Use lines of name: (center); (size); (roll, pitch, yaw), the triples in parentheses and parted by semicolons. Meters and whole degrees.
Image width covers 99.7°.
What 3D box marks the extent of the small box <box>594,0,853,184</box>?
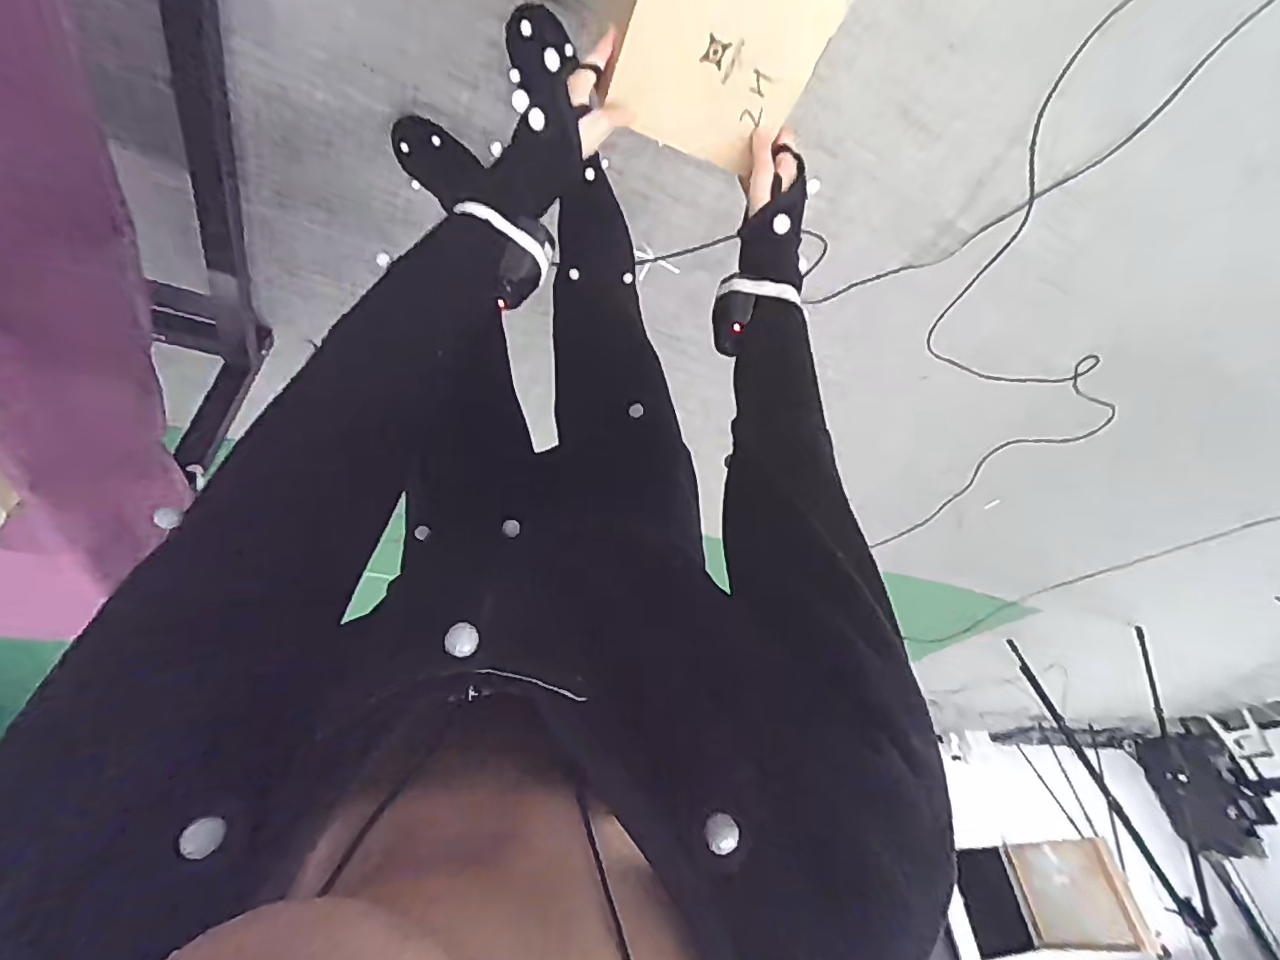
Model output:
small box: (0.063, -0.437, 0.531); (0.179, 0.176, 0.168); (8, 142, -24)
